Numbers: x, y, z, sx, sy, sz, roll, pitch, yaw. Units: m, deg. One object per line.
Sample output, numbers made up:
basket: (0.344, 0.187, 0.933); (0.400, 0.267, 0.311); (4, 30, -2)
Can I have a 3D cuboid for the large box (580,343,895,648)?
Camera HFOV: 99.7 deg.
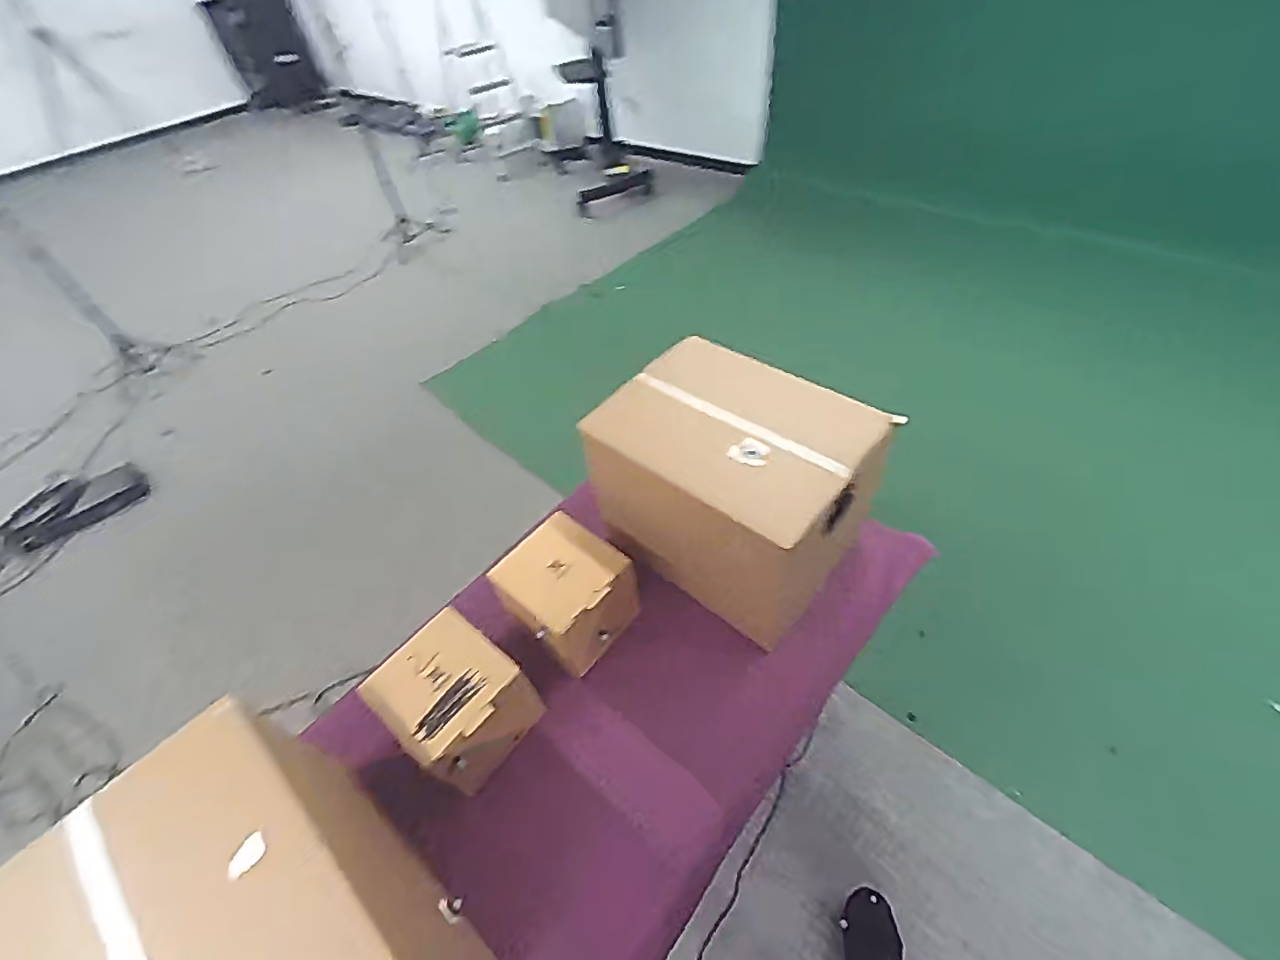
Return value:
large box: (0.159, 0.015, 0.966); (0.408, 0.320, 0.320); (31, 59, 29)
